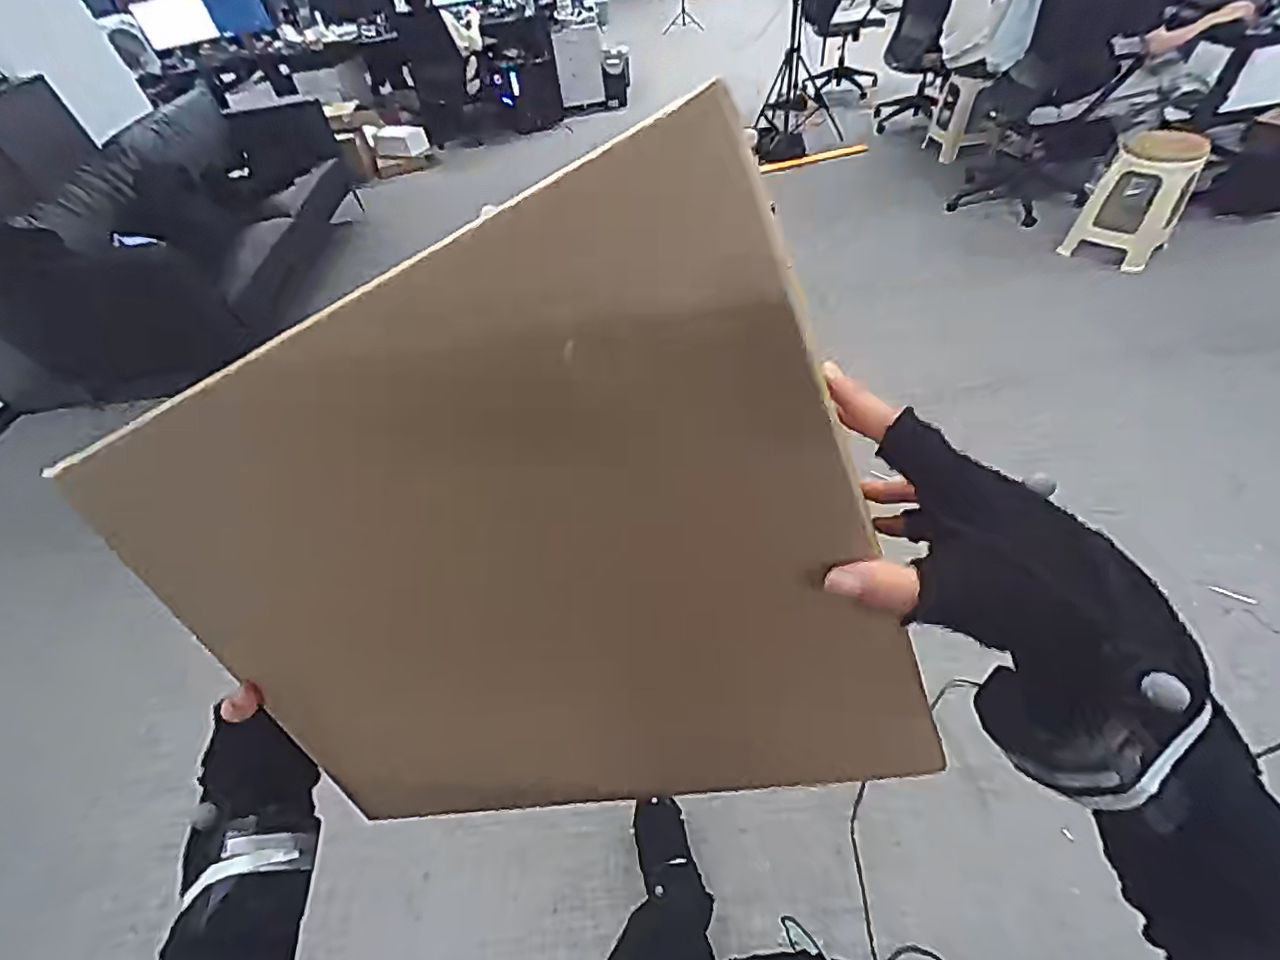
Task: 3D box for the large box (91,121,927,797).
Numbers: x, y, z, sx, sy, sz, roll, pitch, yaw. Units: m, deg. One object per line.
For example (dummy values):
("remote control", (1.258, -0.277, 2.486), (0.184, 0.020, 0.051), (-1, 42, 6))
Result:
("large box", (-0.054, -0.001, 0.425), (0.408, 0.320, 0.320), (-17, 23, 21))
